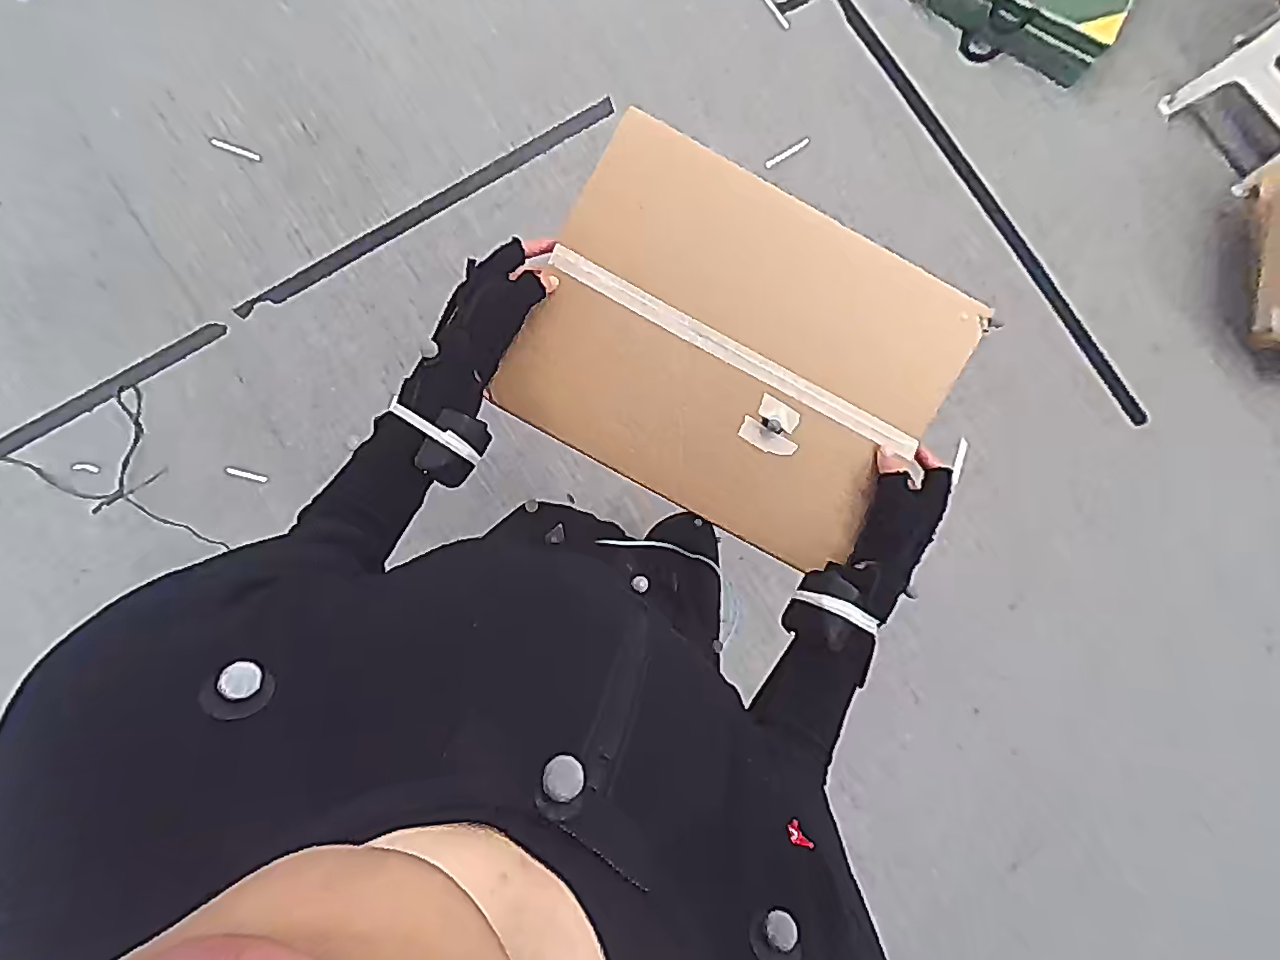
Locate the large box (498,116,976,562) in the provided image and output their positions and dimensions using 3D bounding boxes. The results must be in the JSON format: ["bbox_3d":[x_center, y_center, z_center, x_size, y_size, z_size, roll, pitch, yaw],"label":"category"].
[{"bbox_3d":[0.095,-0.148,0.696,0.408,0.320,0.320,29,95,-3],"label":"large box"}]
